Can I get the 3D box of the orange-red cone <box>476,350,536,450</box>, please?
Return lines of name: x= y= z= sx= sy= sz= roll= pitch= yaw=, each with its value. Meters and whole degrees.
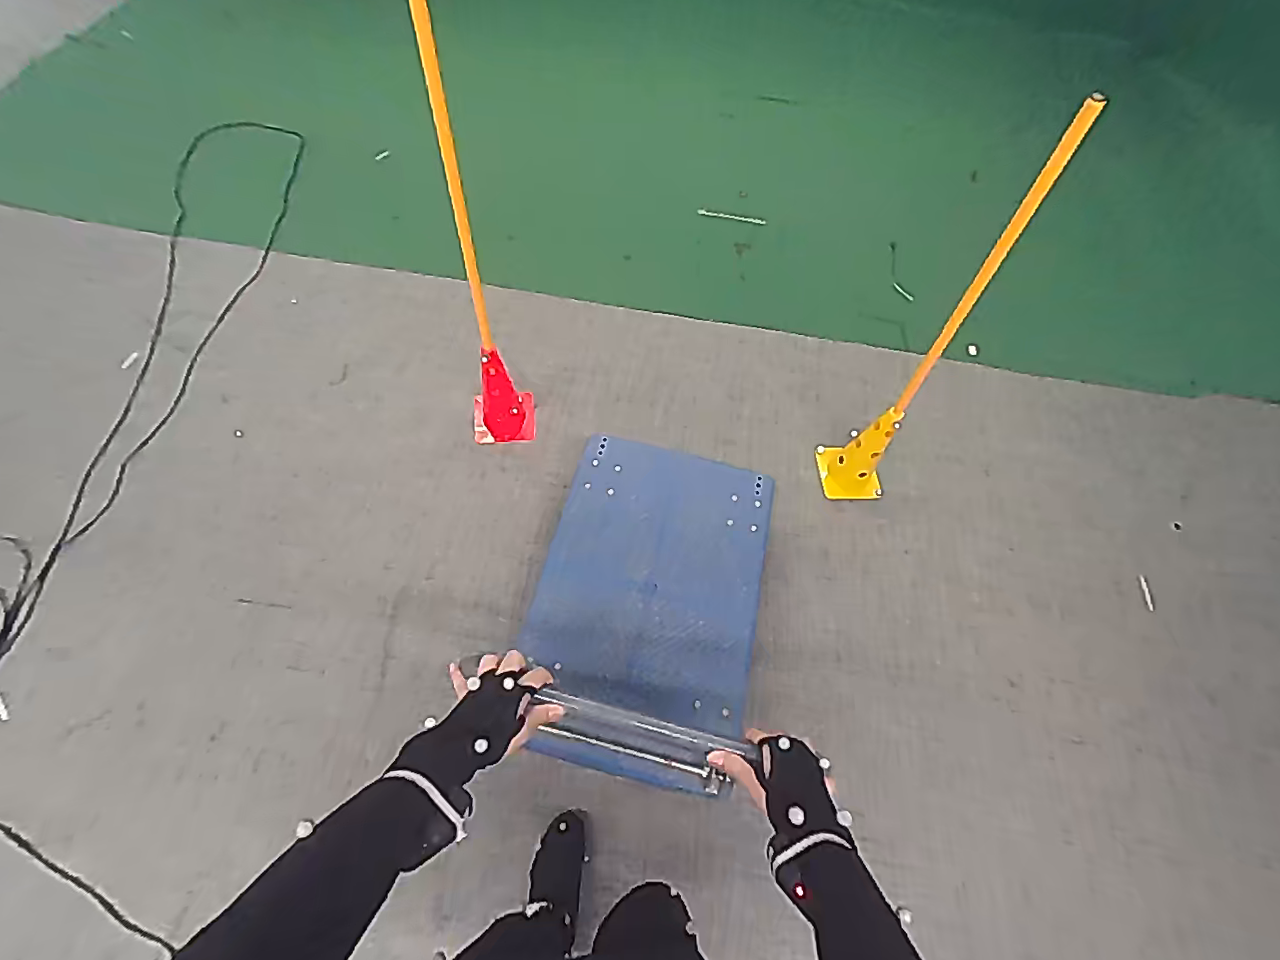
orange-red cone: x=-0.447 y=-0.272 z=1.694 sx=0.199 sy=0.360 sz=0.198 roll=-4 pitch=61 yaw=-6
